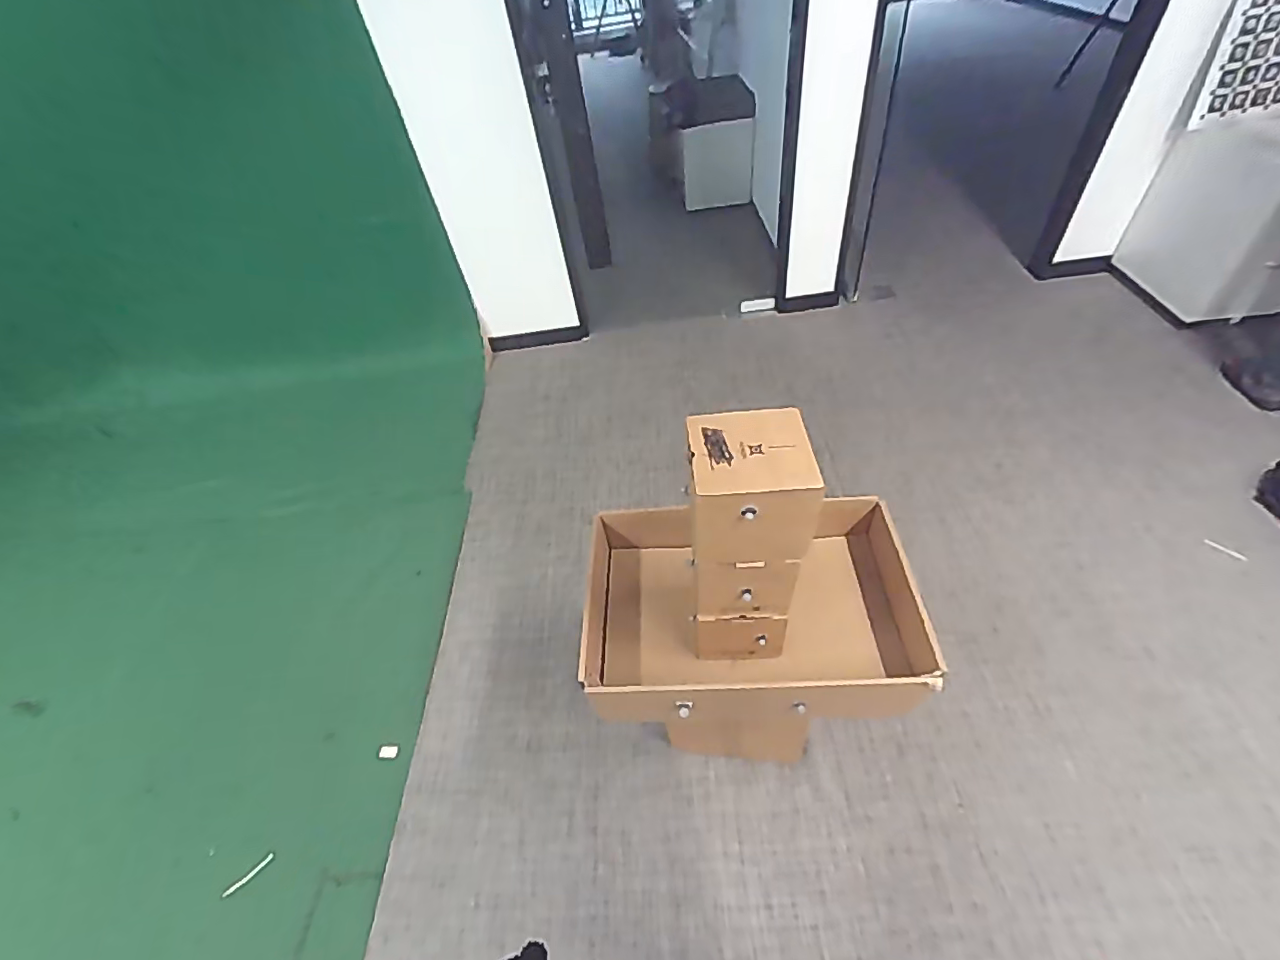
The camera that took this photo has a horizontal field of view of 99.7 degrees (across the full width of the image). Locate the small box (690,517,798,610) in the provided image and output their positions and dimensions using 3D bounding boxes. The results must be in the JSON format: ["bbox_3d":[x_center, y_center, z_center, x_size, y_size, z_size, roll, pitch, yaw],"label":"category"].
[{"bbox_3d":[0.177,0.122,0.965,0.168,0.176,0.179,-3,48,4],"label":"small box"}]

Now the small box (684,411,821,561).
[{"bbox_3d":[0.164,0.013,0.841,0.179,0.176,0.168,-4,48,2],"label":"small box"}]

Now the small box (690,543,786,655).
[{"bbox_3d":[0.190,0.238,1.080,0.168,0.176,0.179,-3,46,3],"label":"small box"}]
